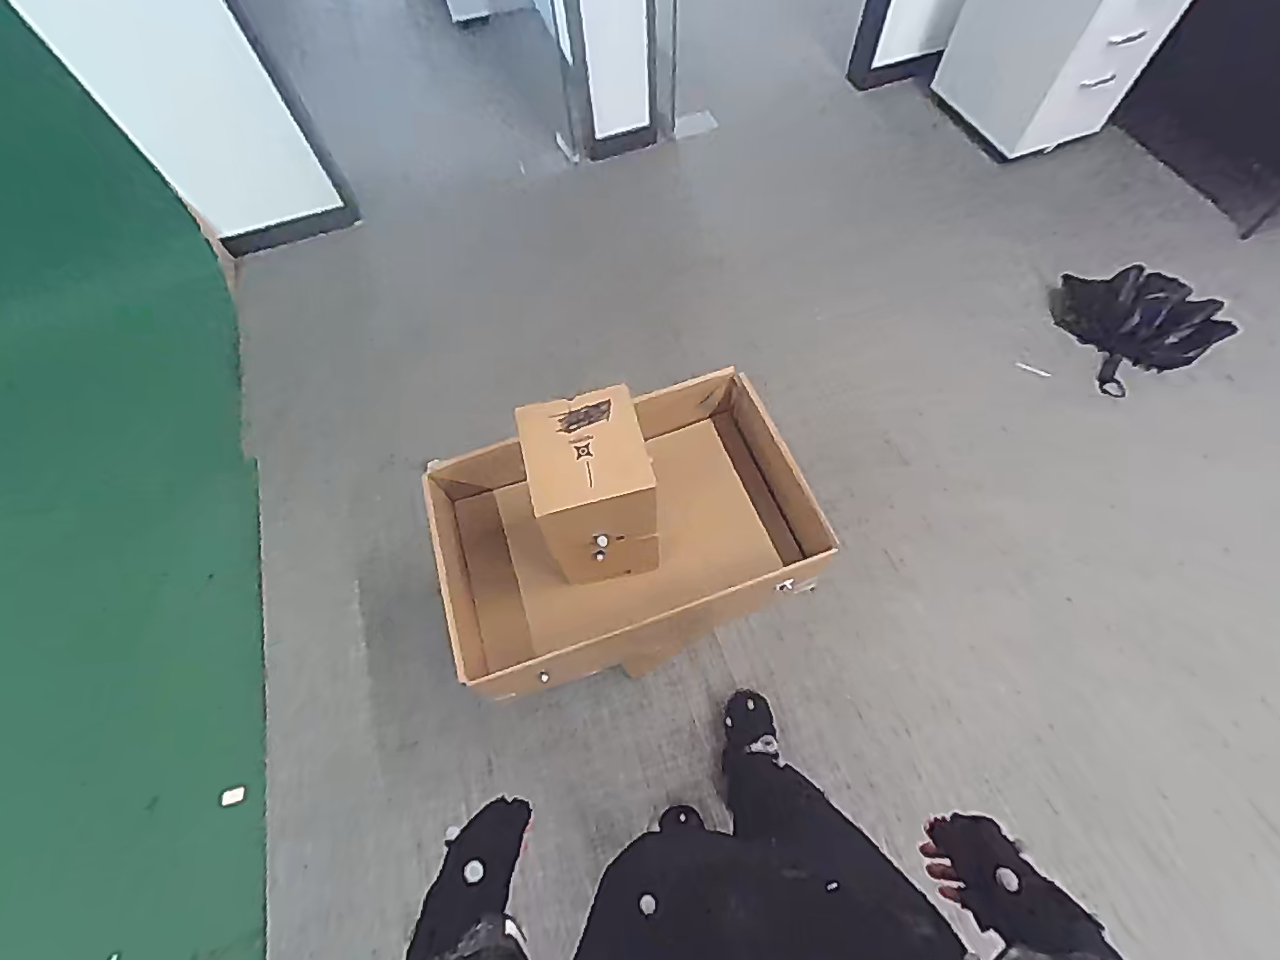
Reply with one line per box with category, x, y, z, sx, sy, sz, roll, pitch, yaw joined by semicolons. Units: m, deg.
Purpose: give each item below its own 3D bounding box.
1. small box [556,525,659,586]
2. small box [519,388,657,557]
small box;-0.063;0.068;0.956;0.168;0.176;0.179;-12;62;-3
small box;-0.075;-0.006;0.810;0.168;0.176;0.179;-13;63;-5
